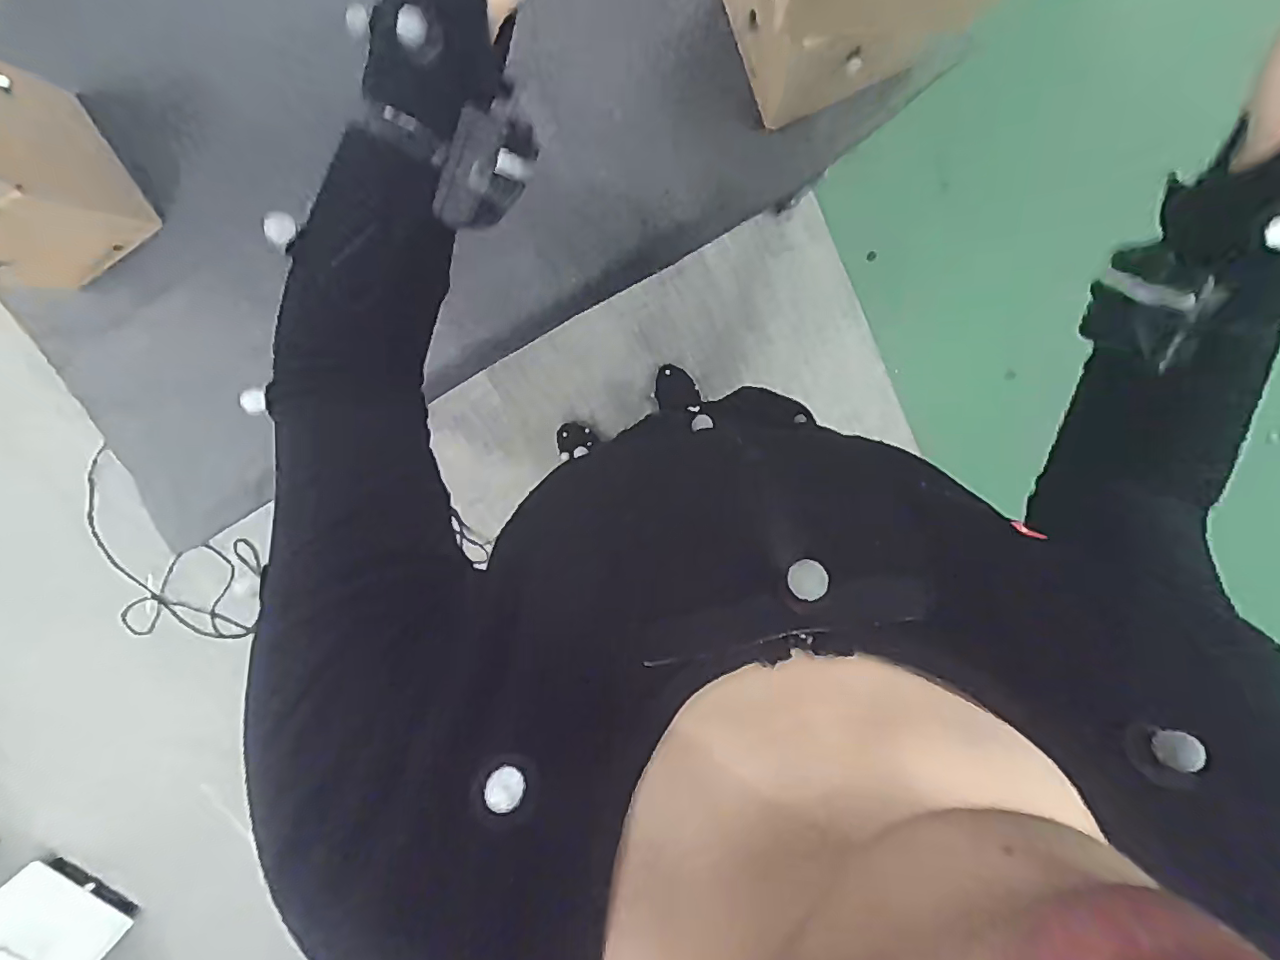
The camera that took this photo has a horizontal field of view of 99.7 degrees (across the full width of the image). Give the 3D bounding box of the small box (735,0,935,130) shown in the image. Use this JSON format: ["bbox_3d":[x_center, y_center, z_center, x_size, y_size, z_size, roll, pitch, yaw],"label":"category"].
[{"bbox_3d":[0.200,-0.492,0.535,0.179,0.176,0.168,-21,99,8],"label":"small box"}]
